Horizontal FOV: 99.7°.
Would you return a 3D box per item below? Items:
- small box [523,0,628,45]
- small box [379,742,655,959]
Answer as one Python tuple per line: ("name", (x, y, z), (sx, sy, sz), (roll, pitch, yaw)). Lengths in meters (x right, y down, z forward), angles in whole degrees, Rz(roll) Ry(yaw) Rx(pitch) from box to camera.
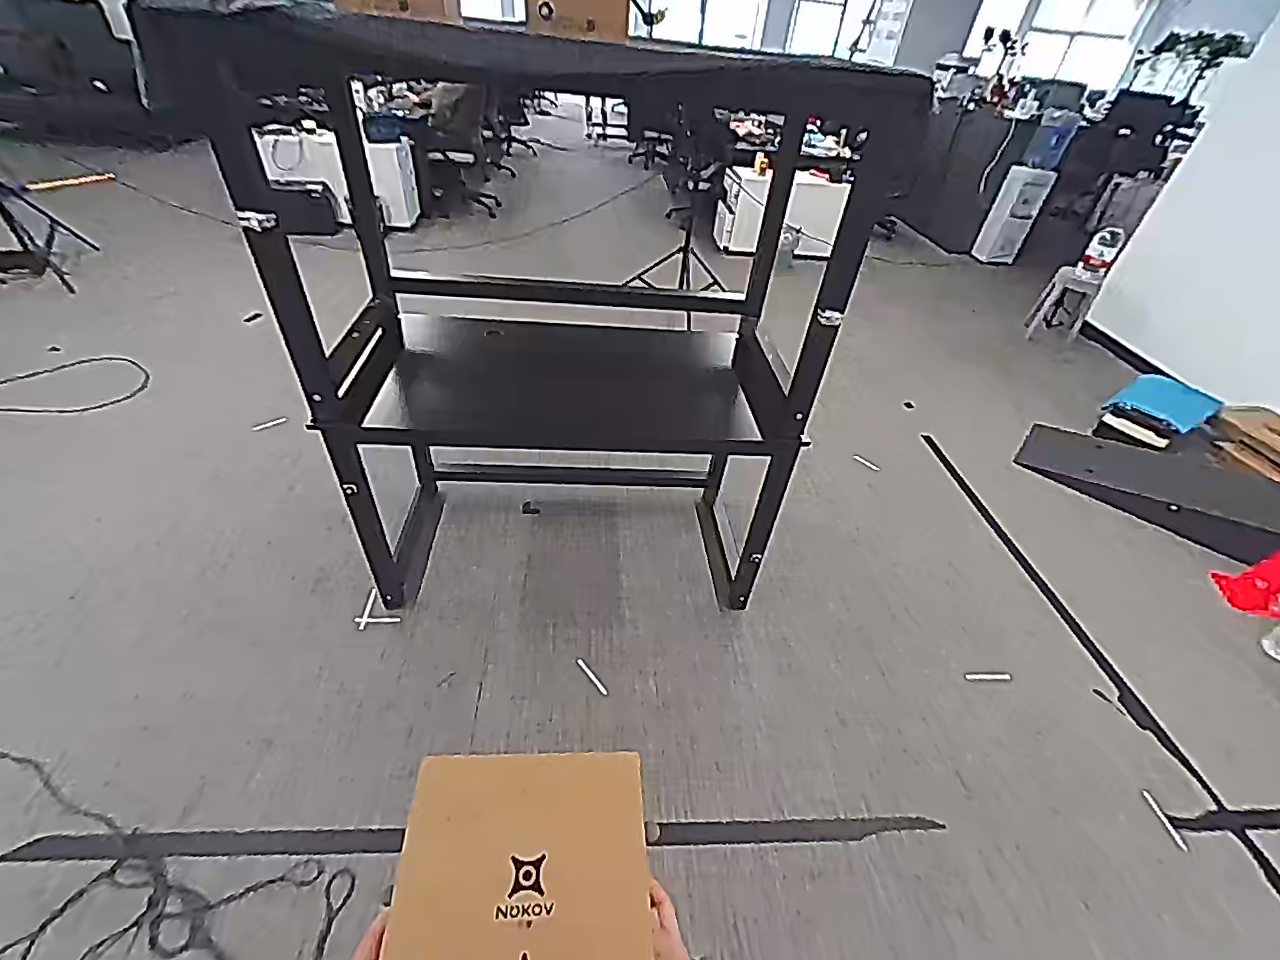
("small box", (-0.101, -0.819, 0.877), (0.168, 0.176, 0.179), (2, 39, -6))
("small box", (-0.085, 0.321, 0.405), (0.168, 0.176, 0.179), (3, 41, -8))
